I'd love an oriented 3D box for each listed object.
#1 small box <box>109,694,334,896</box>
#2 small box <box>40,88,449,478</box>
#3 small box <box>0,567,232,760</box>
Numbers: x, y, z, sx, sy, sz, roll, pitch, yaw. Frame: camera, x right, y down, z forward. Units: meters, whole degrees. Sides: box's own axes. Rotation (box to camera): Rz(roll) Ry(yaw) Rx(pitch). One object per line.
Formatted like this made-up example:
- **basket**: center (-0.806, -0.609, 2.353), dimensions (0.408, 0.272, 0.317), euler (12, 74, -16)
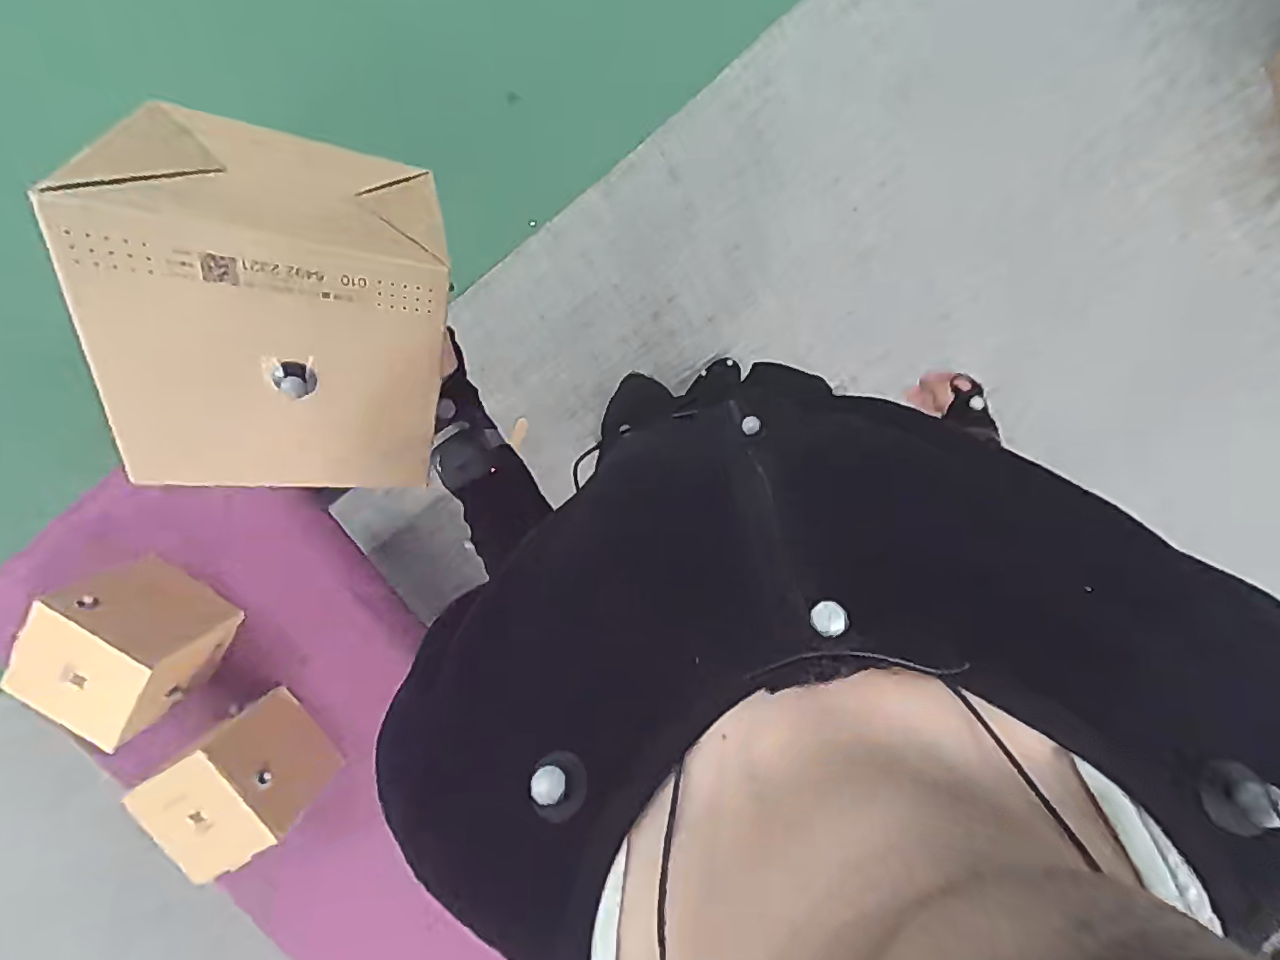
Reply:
- **small box**: center (-0.620, 0.470, 0.828), dimensions (0.168, 0.176, 0.179), euler (-31, 98, 9)
- **small box**: center (-0.223, -0.121, 0.349), dimensions (0.168, 0.179, 0.176), euler (3, 132, -27)
- **small box**: center (-0.758, 0.254, 0.791), dimensions (0.179, 0.176, 0.168), euler (34, 103, -3)
